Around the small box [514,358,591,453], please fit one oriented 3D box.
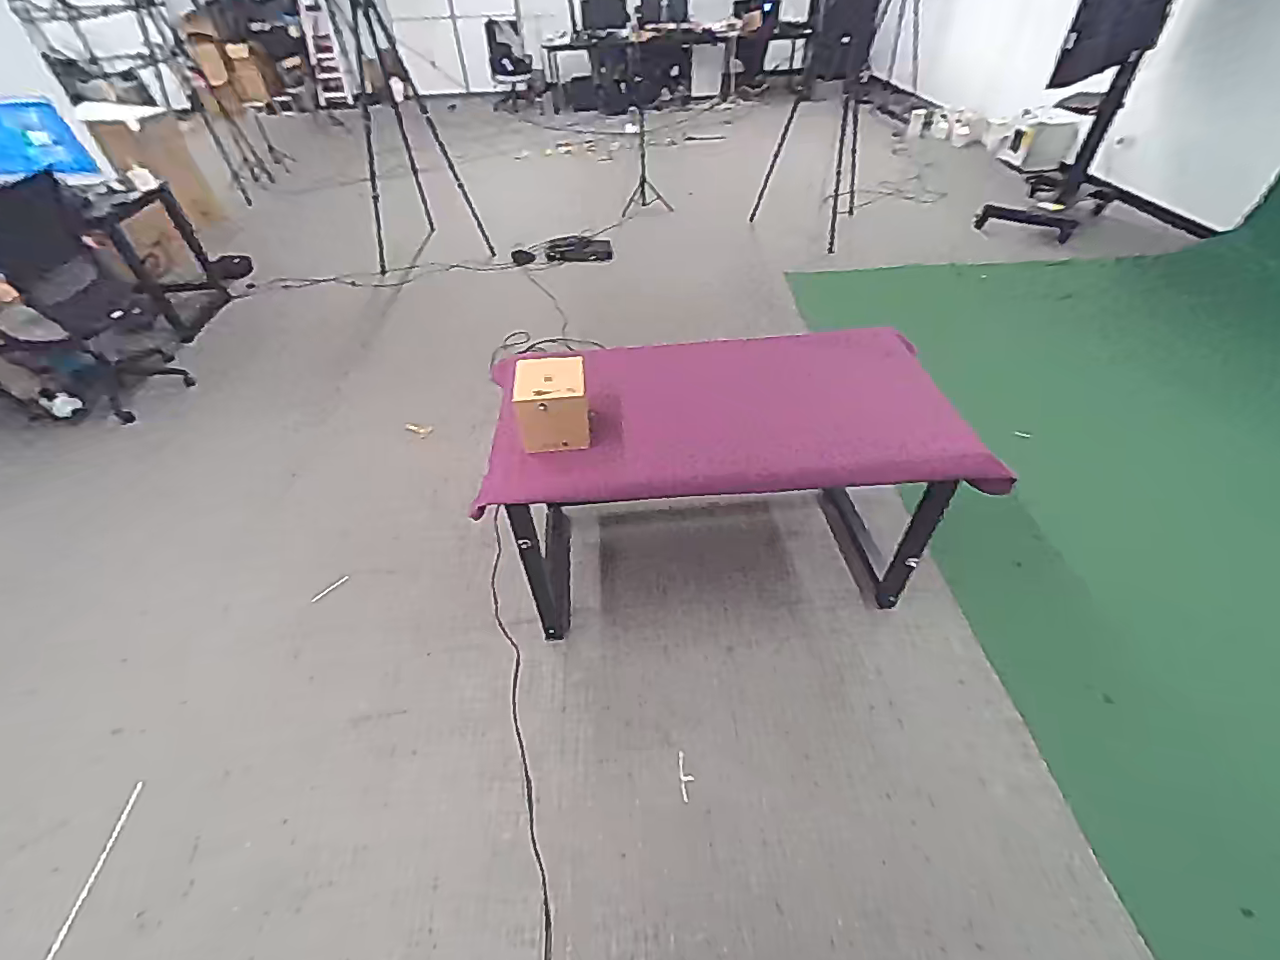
[{"bbox_3d":[-0.216,-0.189,1.372,0.168,0.176,0.179,-6,44,-2],"label":"small box"}]
